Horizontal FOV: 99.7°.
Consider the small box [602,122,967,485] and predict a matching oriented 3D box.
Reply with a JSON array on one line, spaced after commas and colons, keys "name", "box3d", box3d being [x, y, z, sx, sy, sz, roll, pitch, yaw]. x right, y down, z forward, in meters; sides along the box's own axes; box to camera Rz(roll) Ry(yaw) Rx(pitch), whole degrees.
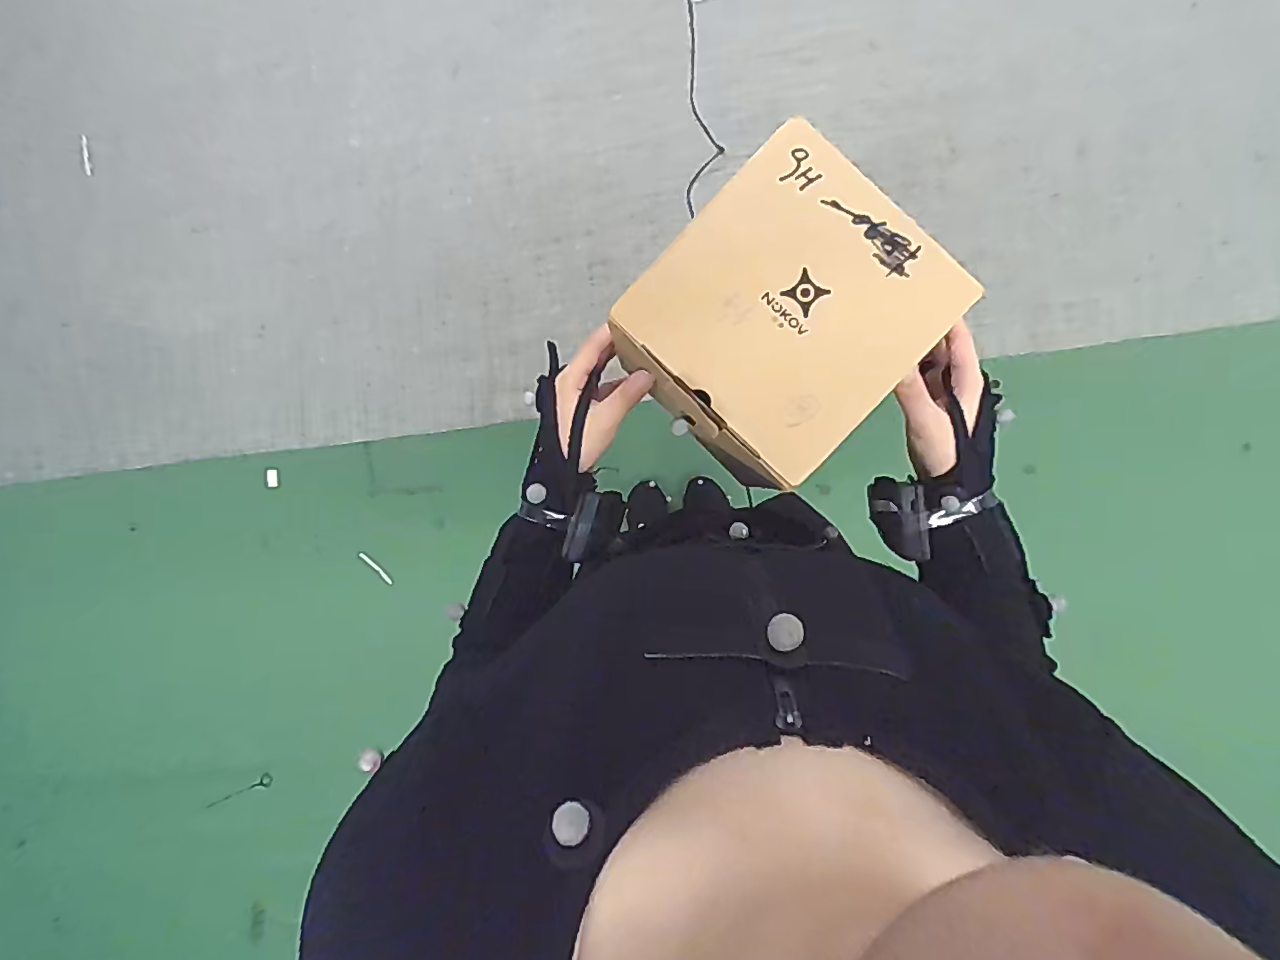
[{"name": "small box", "box3d": [0.096, -0.113, 0.426, 0.168, 0.176, 0.179, 44, 93, 1]}]
